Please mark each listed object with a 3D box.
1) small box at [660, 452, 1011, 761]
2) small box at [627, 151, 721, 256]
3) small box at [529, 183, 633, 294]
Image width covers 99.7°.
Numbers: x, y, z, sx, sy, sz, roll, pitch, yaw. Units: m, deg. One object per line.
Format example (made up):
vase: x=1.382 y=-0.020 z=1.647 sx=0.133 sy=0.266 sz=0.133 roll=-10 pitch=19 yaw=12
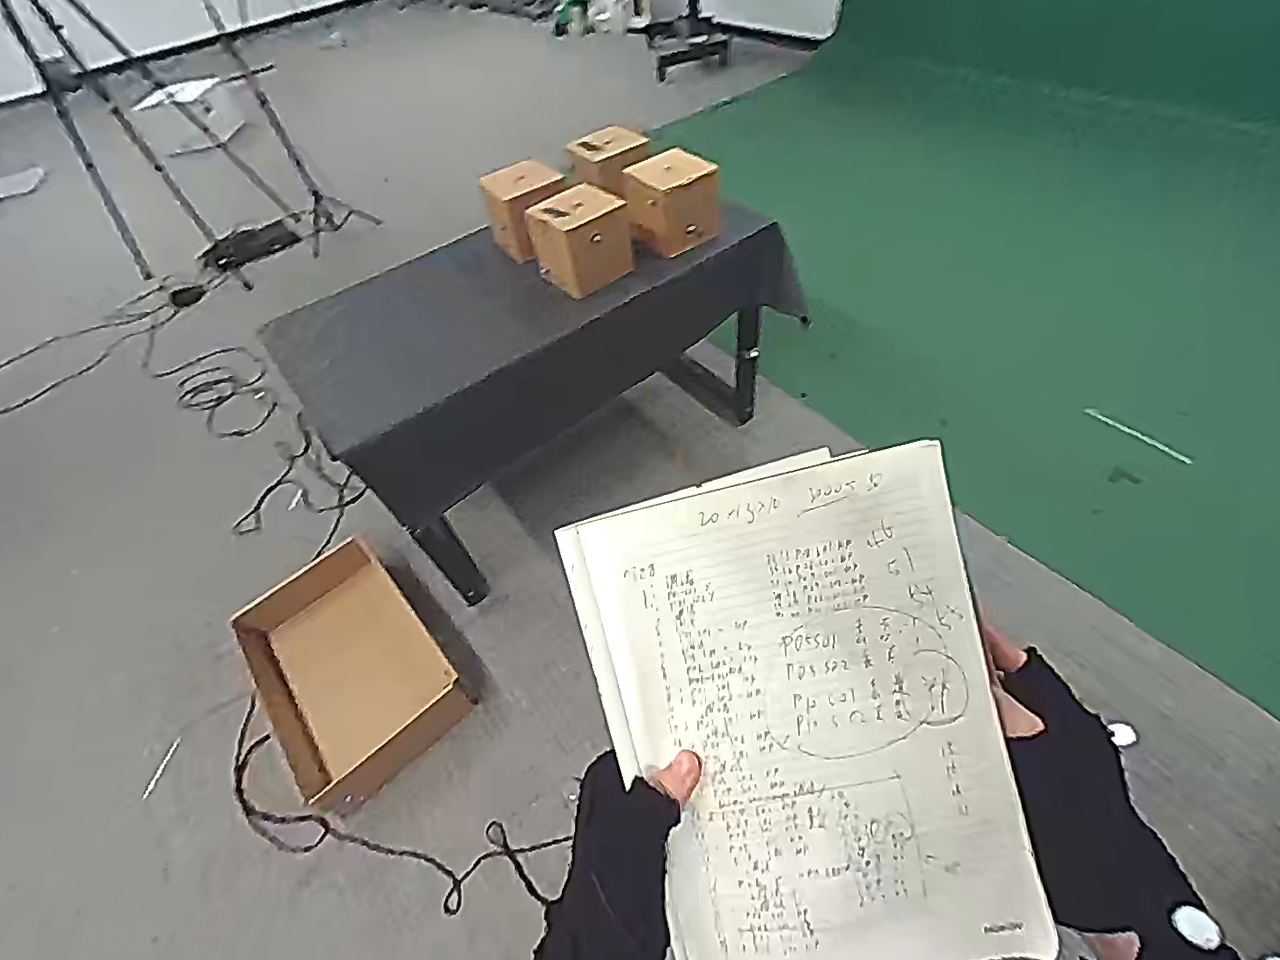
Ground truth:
small box: x=0.116 y=0.091 z=0.395 sx=0.179 sy=0.176 sz=0.168 roll=-8 pitch=75 yaw=4
small box: x=0.087 y=-0.695 z=1.364 sx=0.168 sy=0.176 sz=0.179 roll=-31 pitch=54 yaw=-16
small box: x=-0.134 y=-0.573 z=1.292 sx=0.179 sy=0.176 sz=0.168 roll=-35 pitch=56 yaw=-20
